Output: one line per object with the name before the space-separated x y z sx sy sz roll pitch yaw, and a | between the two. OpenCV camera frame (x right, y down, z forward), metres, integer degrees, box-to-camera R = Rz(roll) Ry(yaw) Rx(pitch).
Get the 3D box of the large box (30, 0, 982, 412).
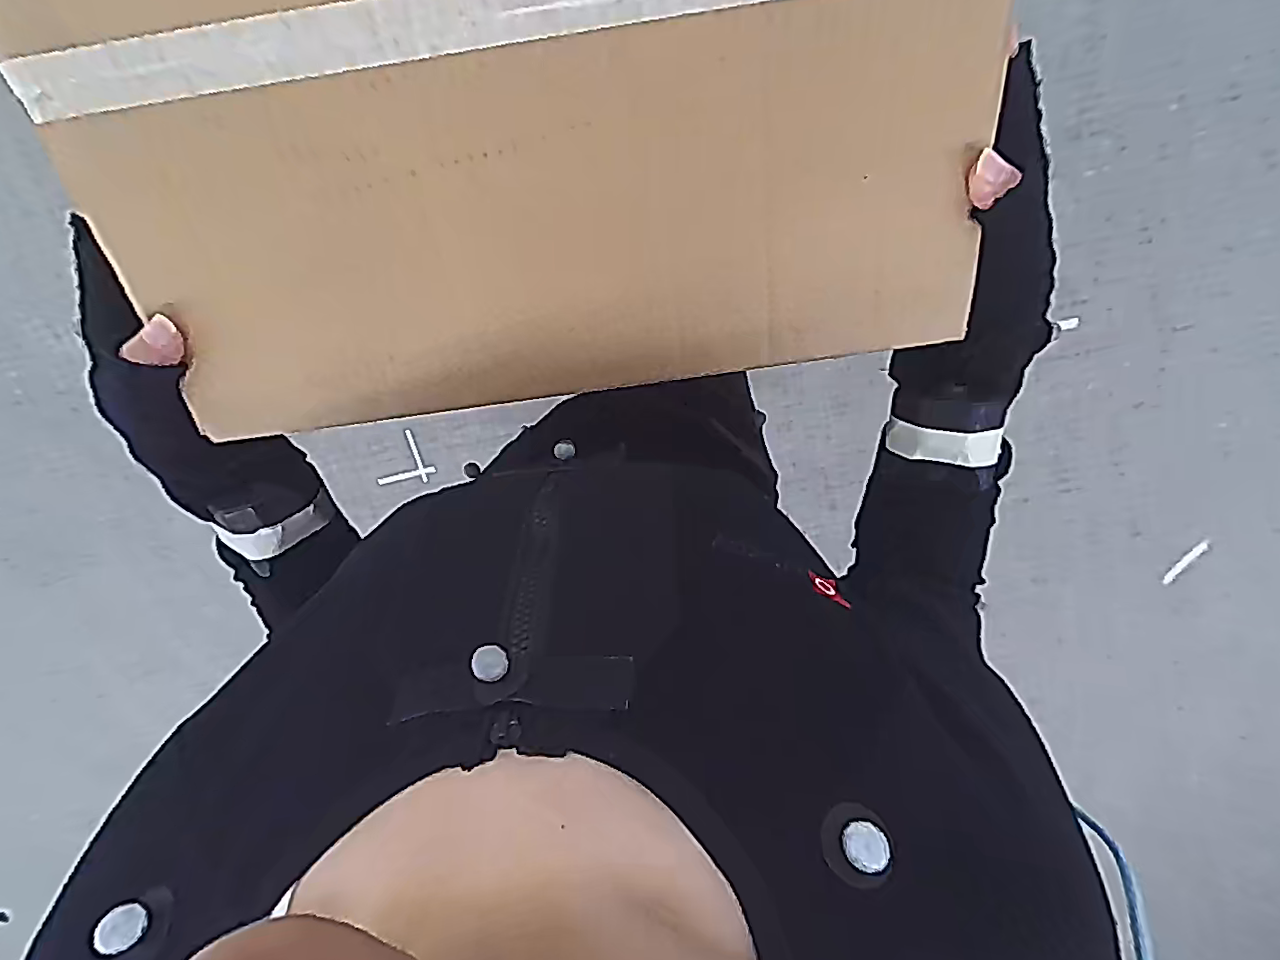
large box | -0.059 -0.266 0.362 0.408 0.320 0.320 -8 117 2
